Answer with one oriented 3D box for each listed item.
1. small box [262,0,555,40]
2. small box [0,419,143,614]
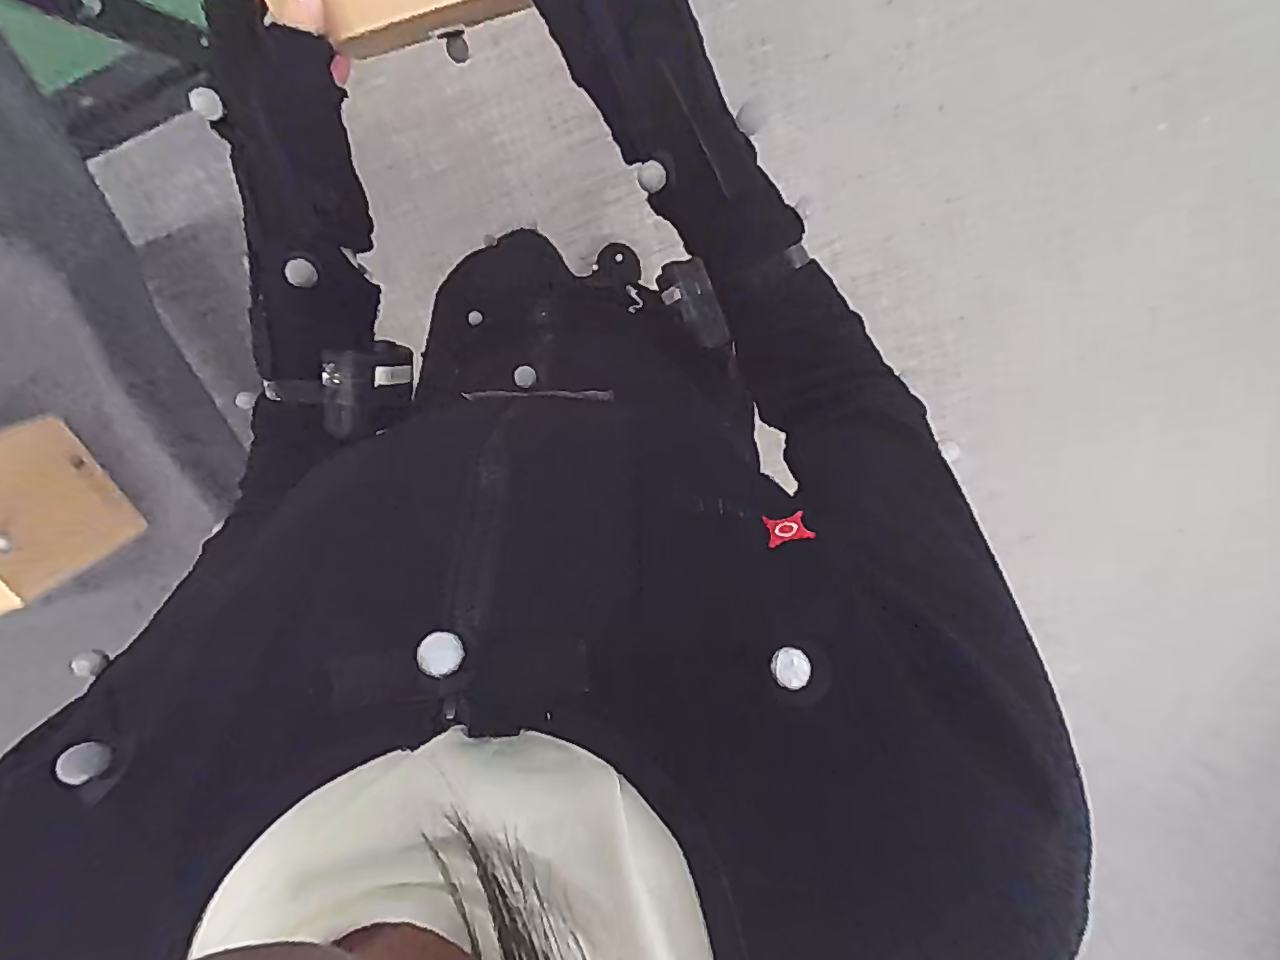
[{"bbox_3d":[-0.126,-0.354,0.275,0.168,0.176,0.179,-13,128,1],"label":"small box"},{"bbox_3d":[-0.745,0.051,0.614,0.179,0.176,0.168,-17,115,8],"label":"small box"}]
